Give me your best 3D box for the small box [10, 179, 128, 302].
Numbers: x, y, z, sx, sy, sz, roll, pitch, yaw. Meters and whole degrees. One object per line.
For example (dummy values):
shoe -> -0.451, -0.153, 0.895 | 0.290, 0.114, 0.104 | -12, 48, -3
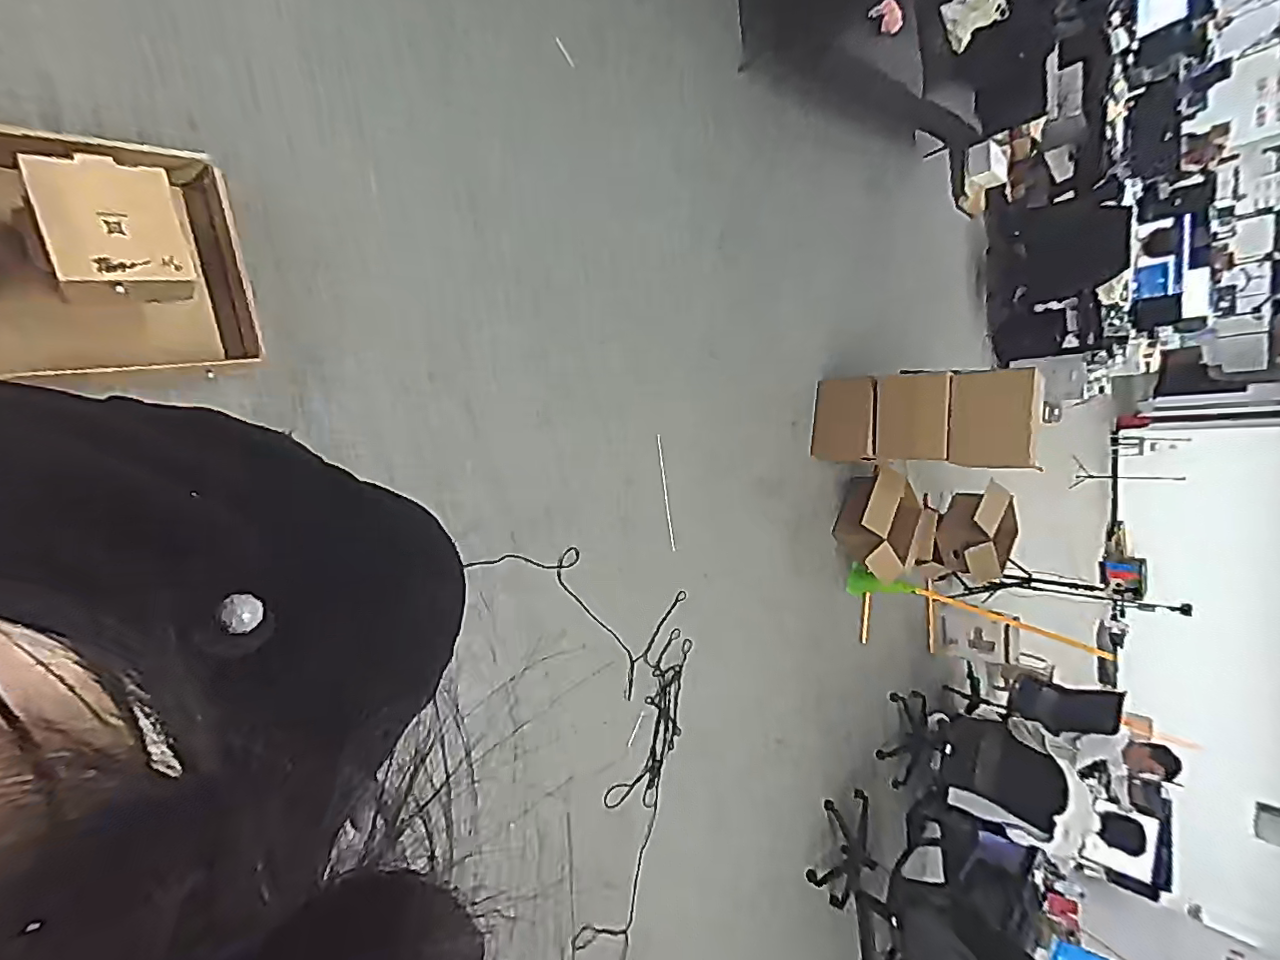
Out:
small box -> -0.982, -0.432, 0.993 | 0.179, 0.176, 0.168 | -23, 108, -39

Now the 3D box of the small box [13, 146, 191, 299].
small box -> -0.863, -0.404, 0.881 | 0.168, 0.176, 0.179 | -17, 103, -40
